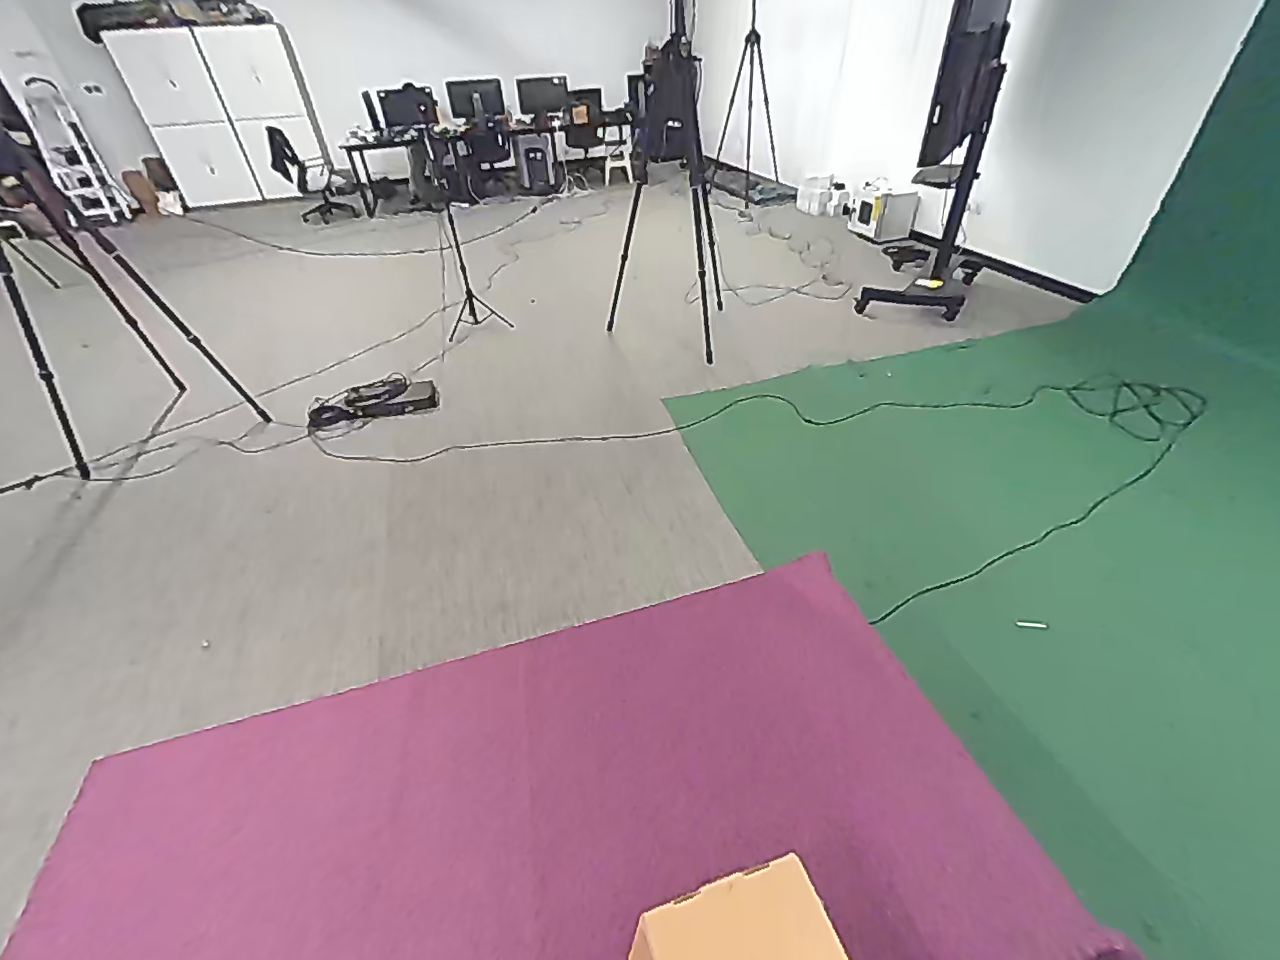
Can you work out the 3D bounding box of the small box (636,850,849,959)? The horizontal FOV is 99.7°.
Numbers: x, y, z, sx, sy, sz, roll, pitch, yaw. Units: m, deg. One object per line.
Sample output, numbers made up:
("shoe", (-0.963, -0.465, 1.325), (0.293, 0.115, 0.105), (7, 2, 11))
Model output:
("small box", (0.100, 0.493, 0.499), (0.168, 0.176, 0.179), (-9, 38, -17))
